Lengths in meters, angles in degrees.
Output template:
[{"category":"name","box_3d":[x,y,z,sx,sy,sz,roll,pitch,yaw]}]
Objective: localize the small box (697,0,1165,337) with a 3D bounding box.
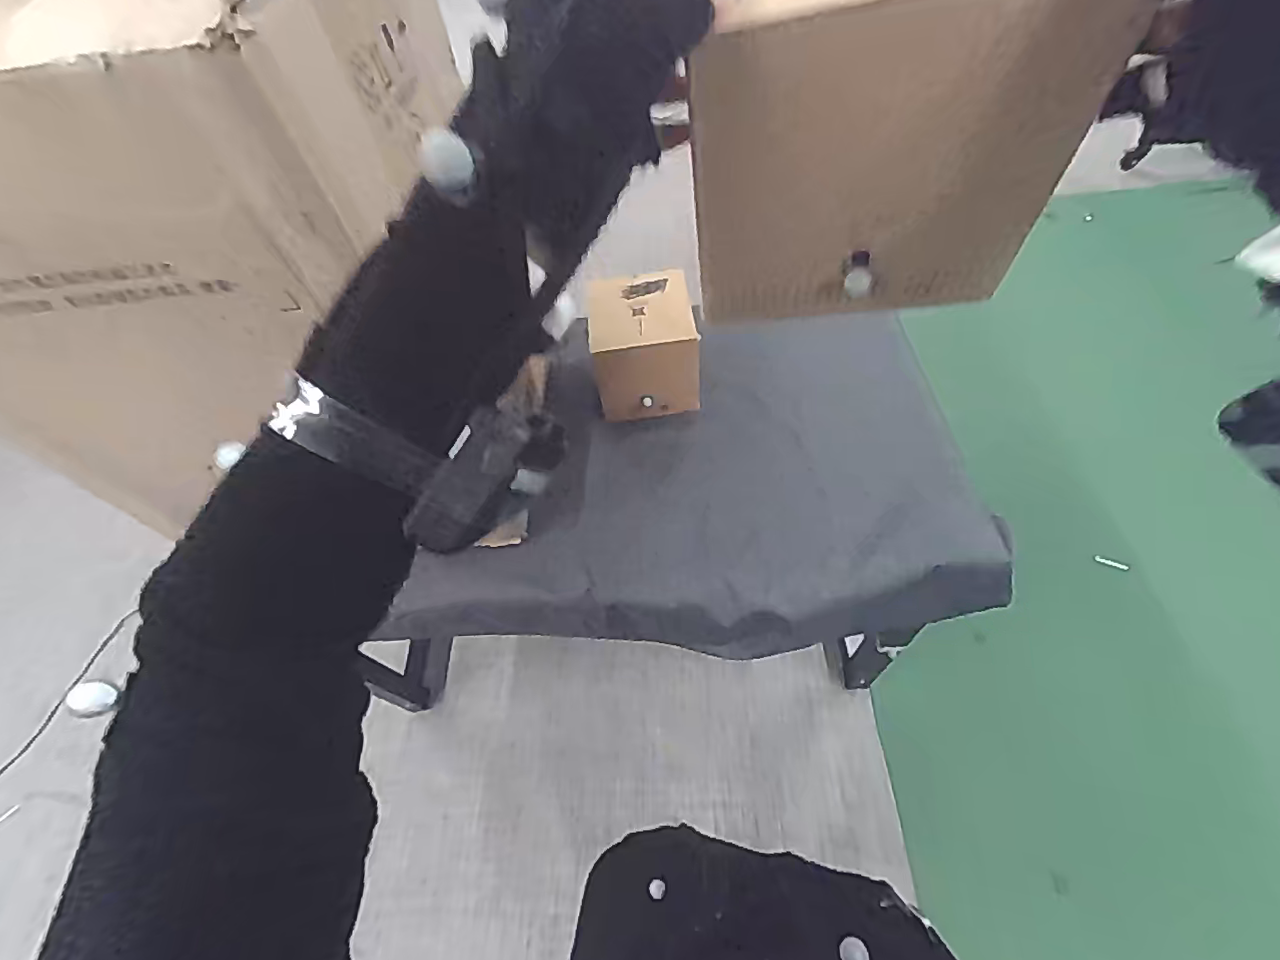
[{"category":"small box","box_3d":[0.123,-0.203,0.317,0.179,0.176,0.168,-2,62,7]}]
